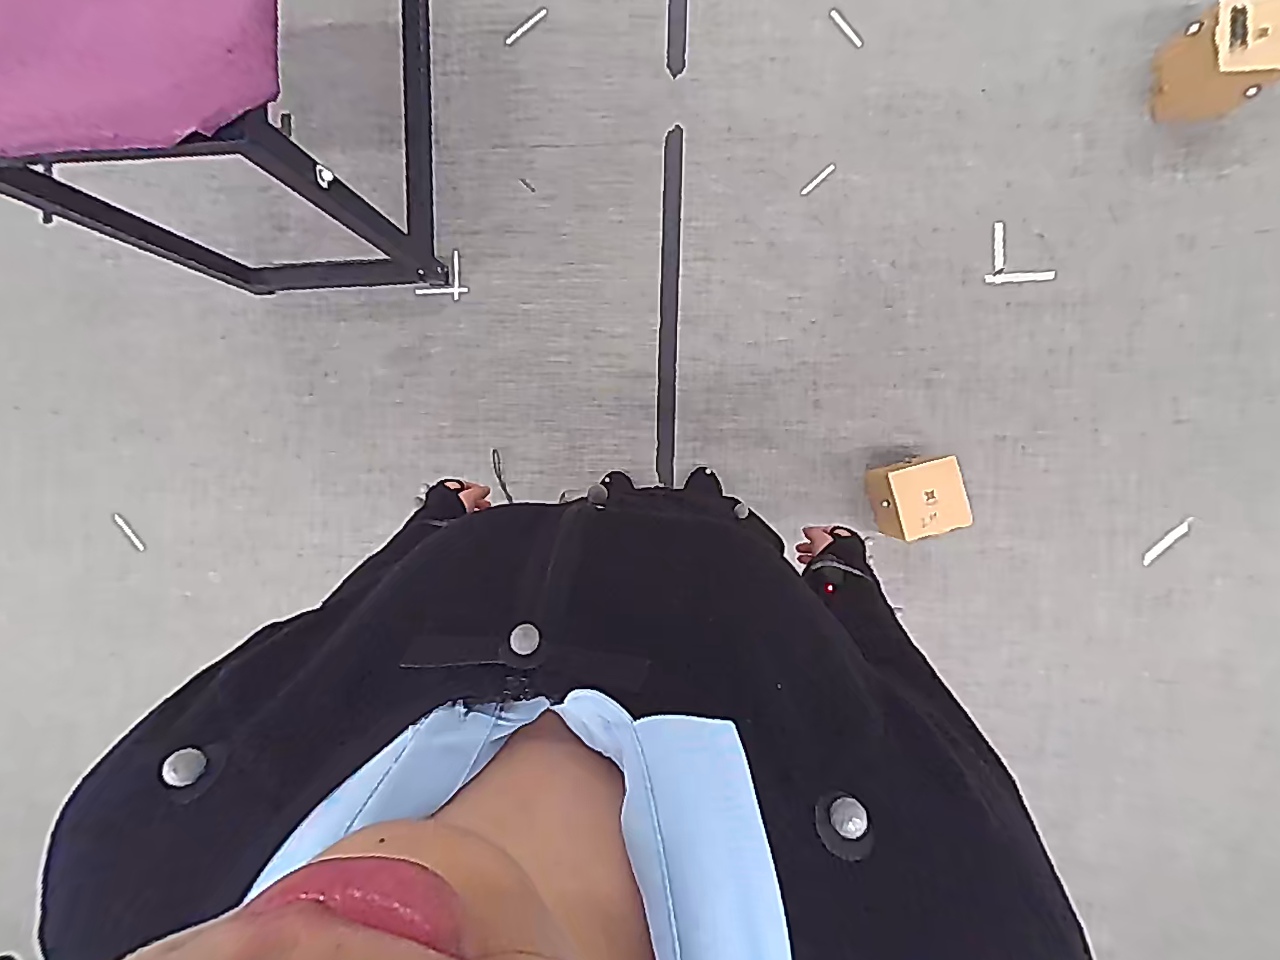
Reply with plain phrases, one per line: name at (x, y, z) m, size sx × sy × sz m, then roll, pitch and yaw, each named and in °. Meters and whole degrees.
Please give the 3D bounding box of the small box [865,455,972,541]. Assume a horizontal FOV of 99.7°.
small box at (0.695, 0.043, 1.370) m, size 0.168 × 0.176 × 0.179 m, roll -15°, pitch 91°, yaw 4°
